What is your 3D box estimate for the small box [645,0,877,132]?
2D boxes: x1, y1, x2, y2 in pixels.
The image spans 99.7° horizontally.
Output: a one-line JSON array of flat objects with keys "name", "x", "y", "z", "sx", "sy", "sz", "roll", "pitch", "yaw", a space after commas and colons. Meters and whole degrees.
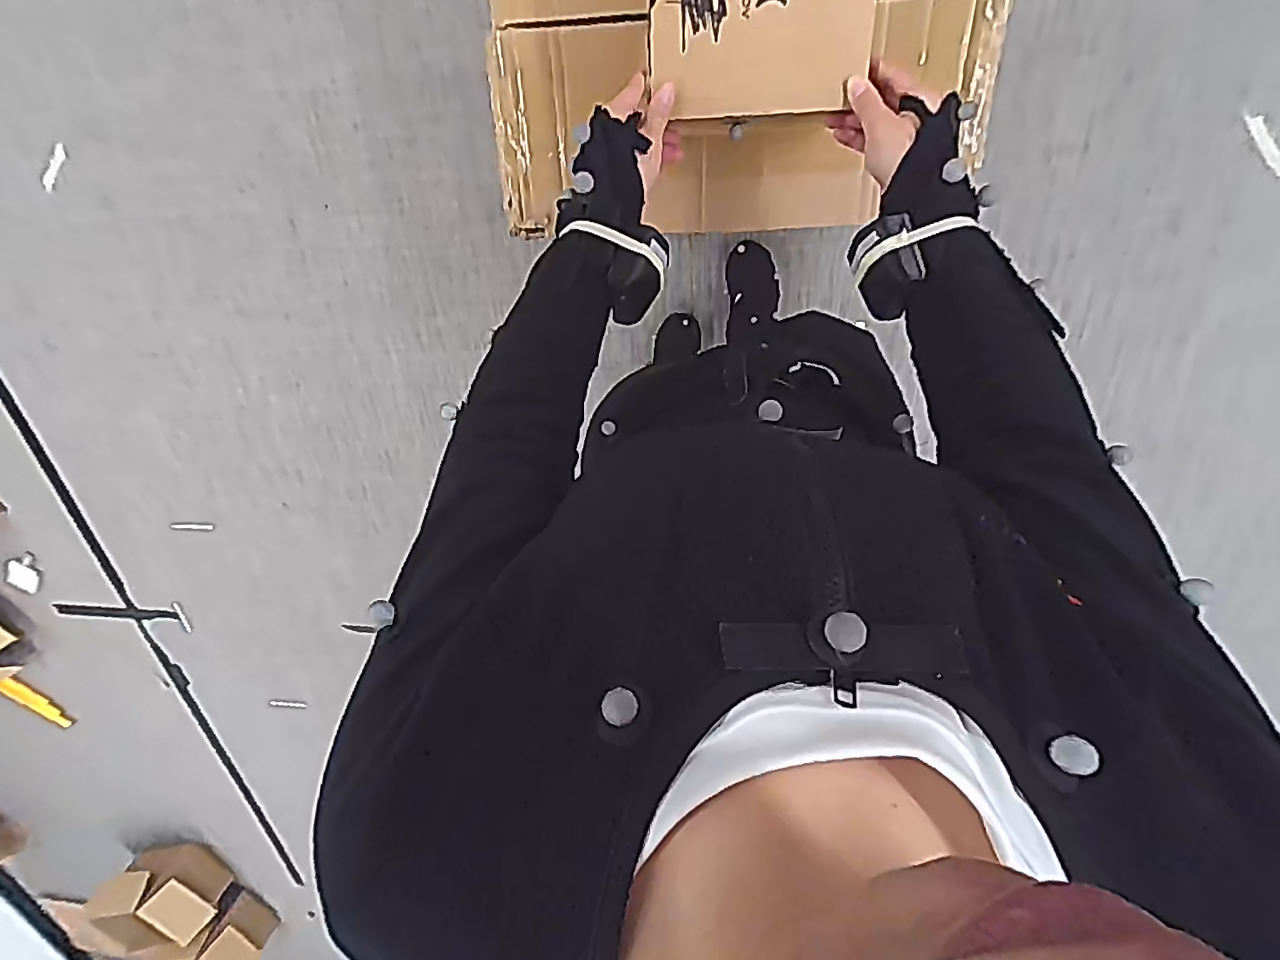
[{"name": "small box", "x": 0.100, "y": -0.413, "z": 0.474, "sx": 0.179, "sy": 0.176, "sz": 0.168, "roll": 1, "pitch": 118, "yaw": 7}]
